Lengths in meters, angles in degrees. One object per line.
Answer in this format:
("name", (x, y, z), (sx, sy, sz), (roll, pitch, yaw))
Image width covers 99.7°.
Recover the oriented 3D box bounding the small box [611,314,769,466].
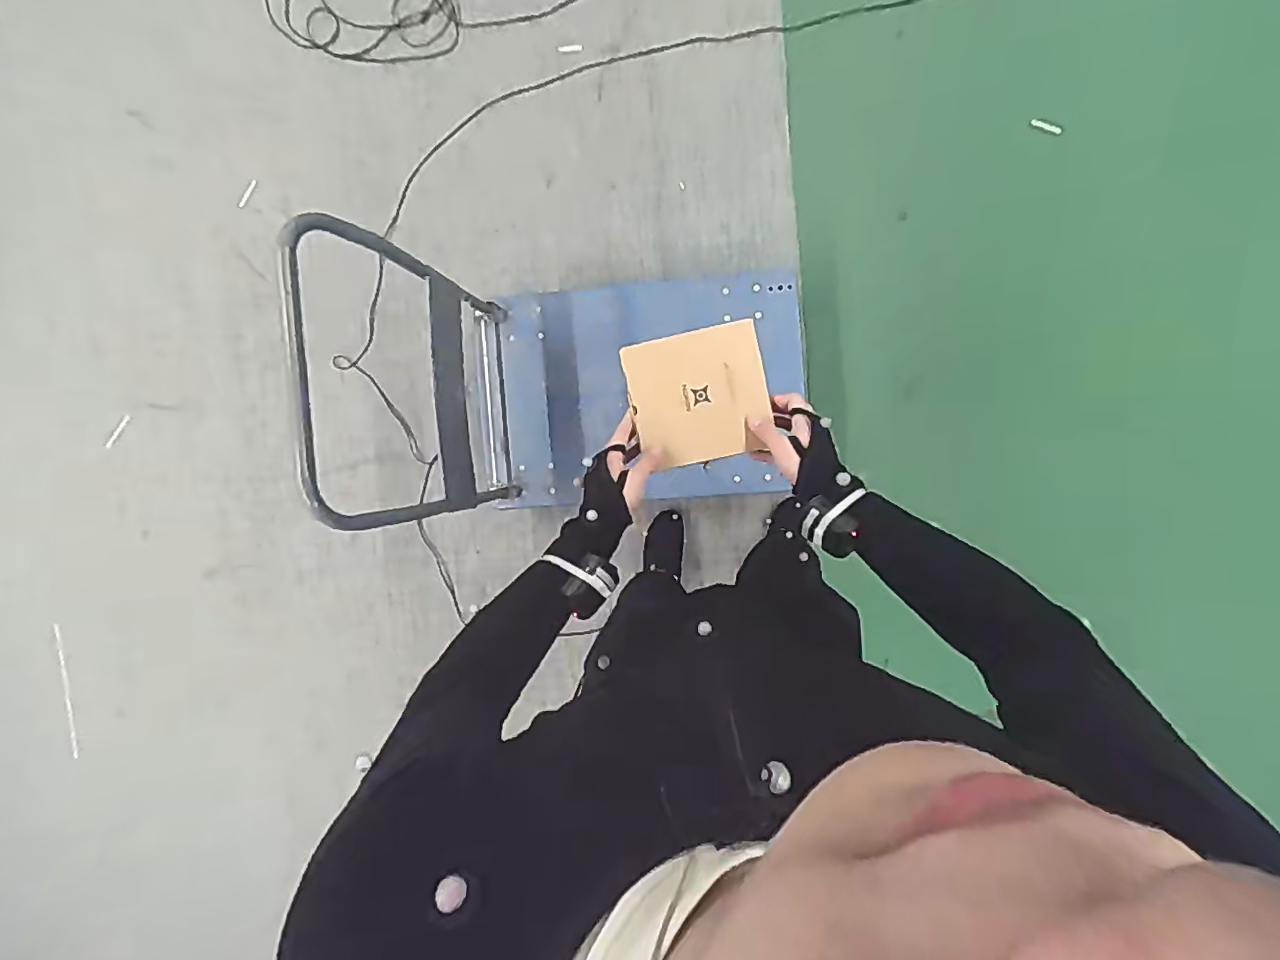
("small box", (0.068, -0.112, 0.750), (0.179, 0.176, 0.168), (-11, 91, 4))
